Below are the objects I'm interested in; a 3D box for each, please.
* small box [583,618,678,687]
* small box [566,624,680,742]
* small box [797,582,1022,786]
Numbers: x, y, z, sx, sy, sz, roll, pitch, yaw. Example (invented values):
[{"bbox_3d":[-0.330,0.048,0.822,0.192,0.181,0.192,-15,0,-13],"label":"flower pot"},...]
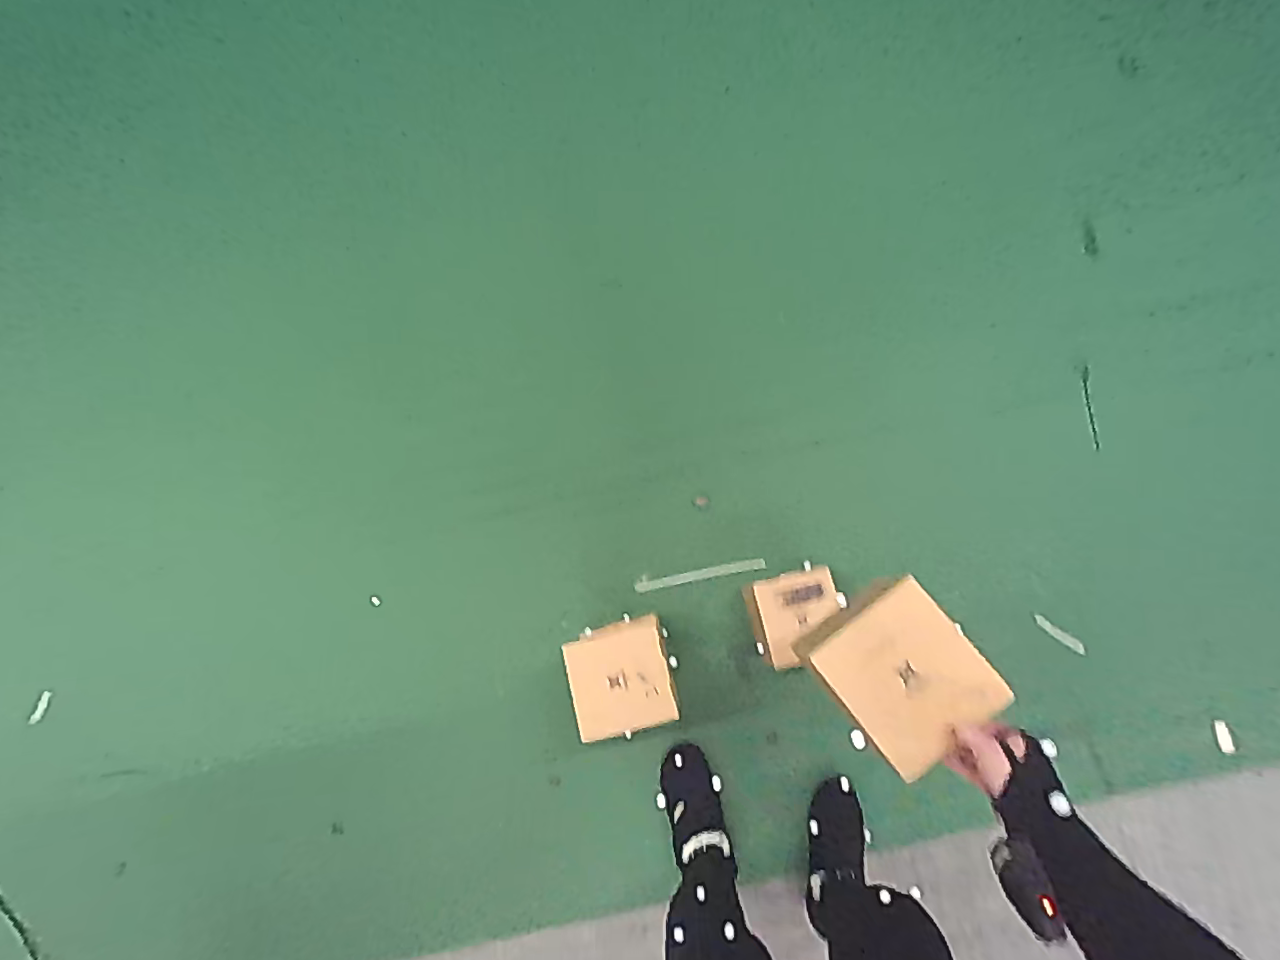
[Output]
[{"bbox_3d":[-0.015,0.405,1.179,0.168,0.176,0.179,-14,75,0],"label":"small box"},{"bbox_3d":[-0.026,0.372,1.019,0.179,0.176,0.168,-14,76,0],"label":"small box"},{"bbox_3d":[0.332,0.250,0.710,0.168,0.176,0.179,-37,76,-2],"label":"small box"}]
